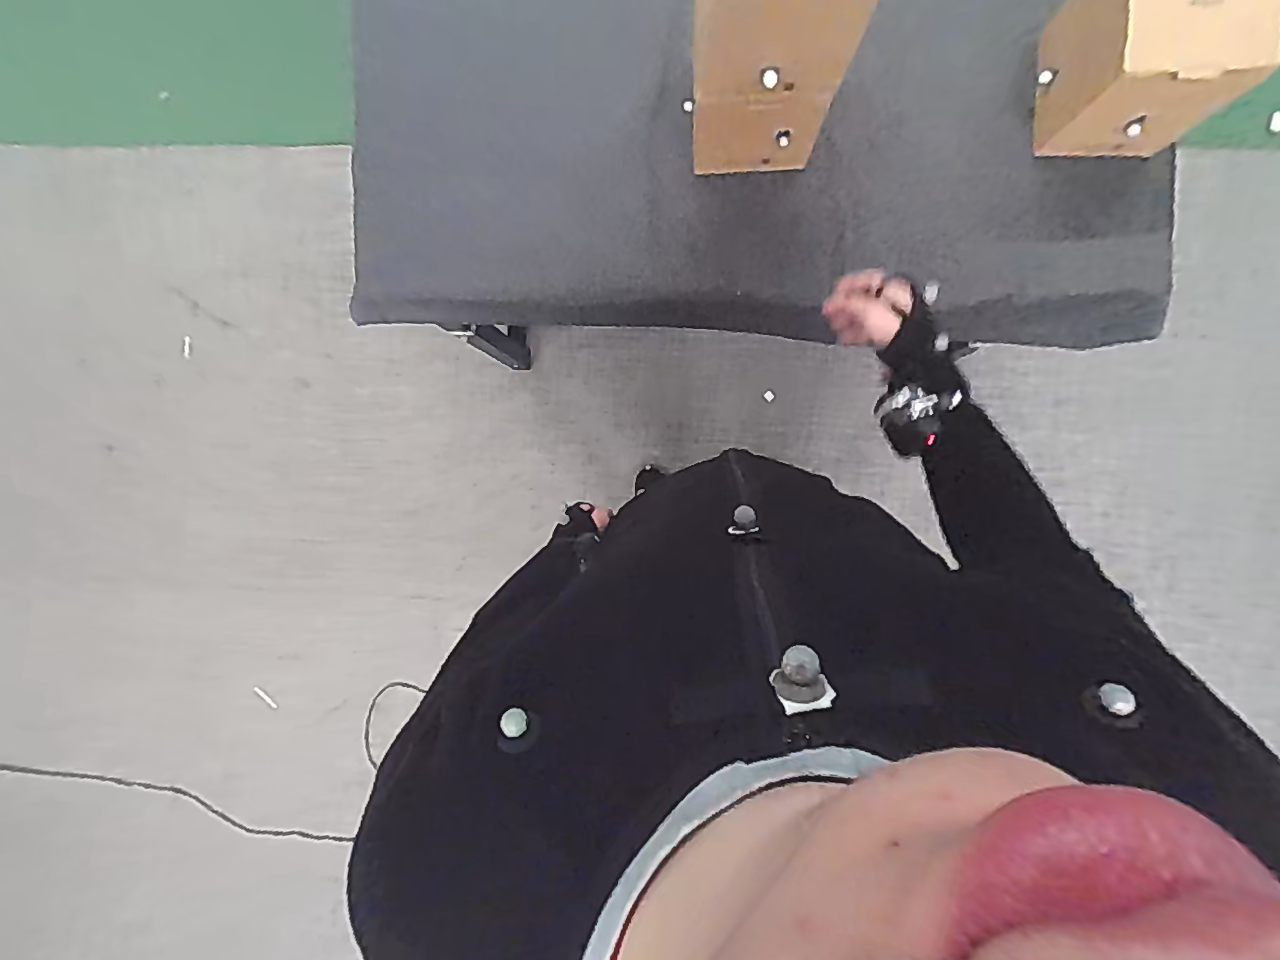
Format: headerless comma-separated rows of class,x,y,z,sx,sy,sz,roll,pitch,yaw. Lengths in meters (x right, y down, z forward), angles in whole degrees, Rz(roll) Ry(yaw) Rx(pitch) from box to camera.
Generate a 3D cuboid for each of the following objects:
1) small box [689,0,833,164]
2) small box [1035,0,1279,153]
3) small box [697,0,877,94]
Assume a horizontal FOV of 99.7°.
small box,0.152,-0.546,0.715,0.168,0.176,0.179,0,90,2
small box,0.637,-0.542,0.680,0.168,0.176,0.179,3,92,4
small box,0.145,-0.539,0.551,0.168,0.176,0.179,-1,92,3
